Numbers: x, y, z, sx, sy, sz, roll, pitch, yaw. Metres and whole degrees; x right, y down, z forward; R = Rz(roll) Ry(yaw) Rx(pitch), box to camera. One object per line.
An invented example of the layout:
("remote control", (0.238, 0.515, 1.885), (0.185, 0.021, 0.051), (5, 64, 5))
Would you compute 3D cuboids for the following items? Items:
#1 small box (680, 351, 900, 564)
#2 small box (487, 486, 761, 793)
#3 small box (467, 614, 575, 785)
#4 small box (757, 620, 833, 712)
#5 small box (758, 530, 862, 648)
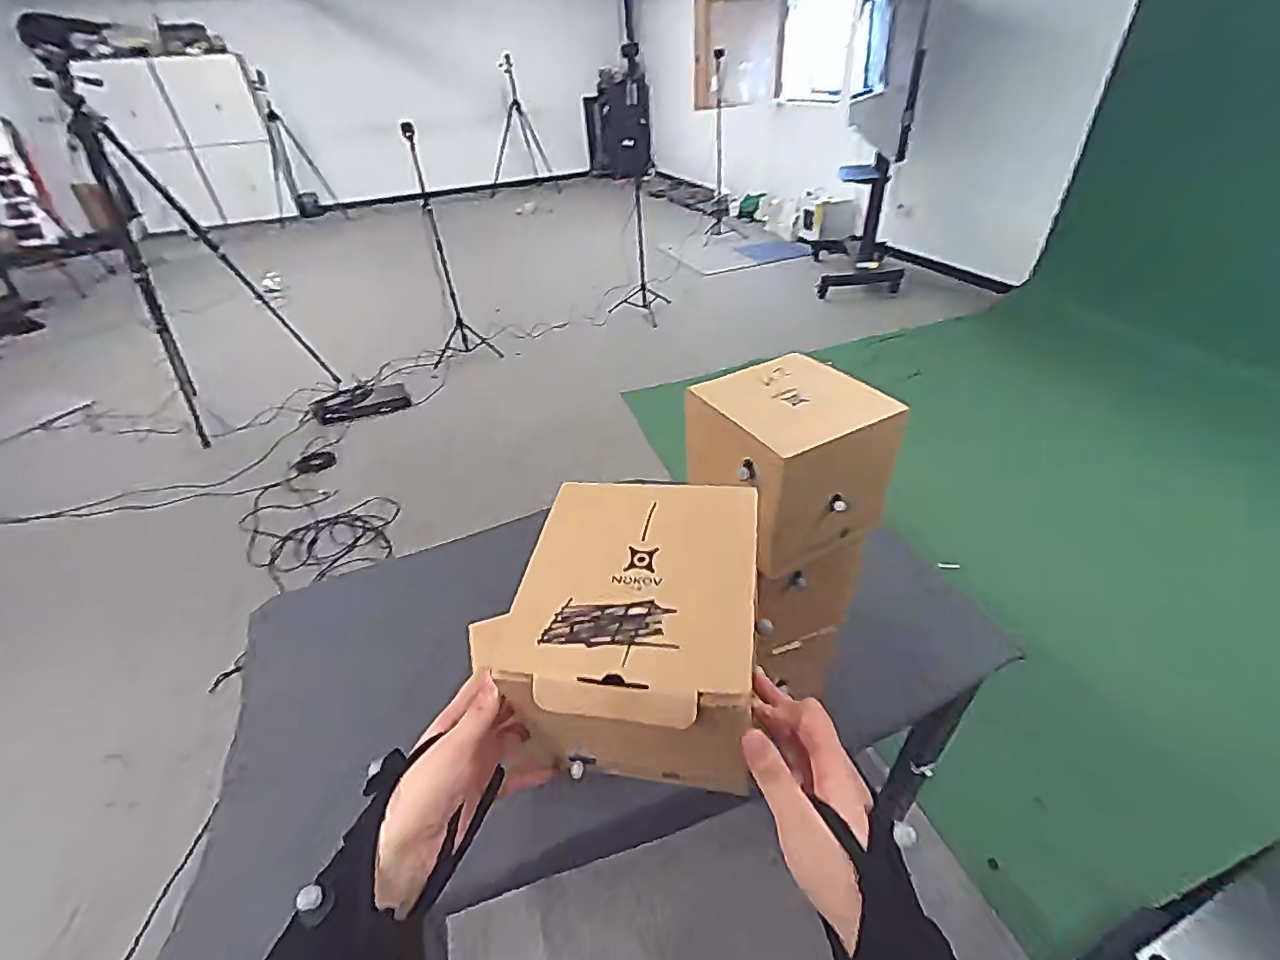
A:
("small box", (0.163, -0.025, 0.631), (0.168, 0.176, 0.179), (-21, 39, -20))
("small box", (0.009, 0.125, 0.431), (0.168, 0.176, 0.179), (2, 45, 13))
("small box", (-0.137, 0.302, 0.784), (0.179, 0.176, 0.168), (-15, 37, -12))
("small box", (0.169, 0.237, 0.829), (0.168, 0.176, 0.179), (-15, 38, -12))
("small box", (0.165, 0.105, 0.735), (0.179, 0.176, 0.168), (-16, 38, -13))
